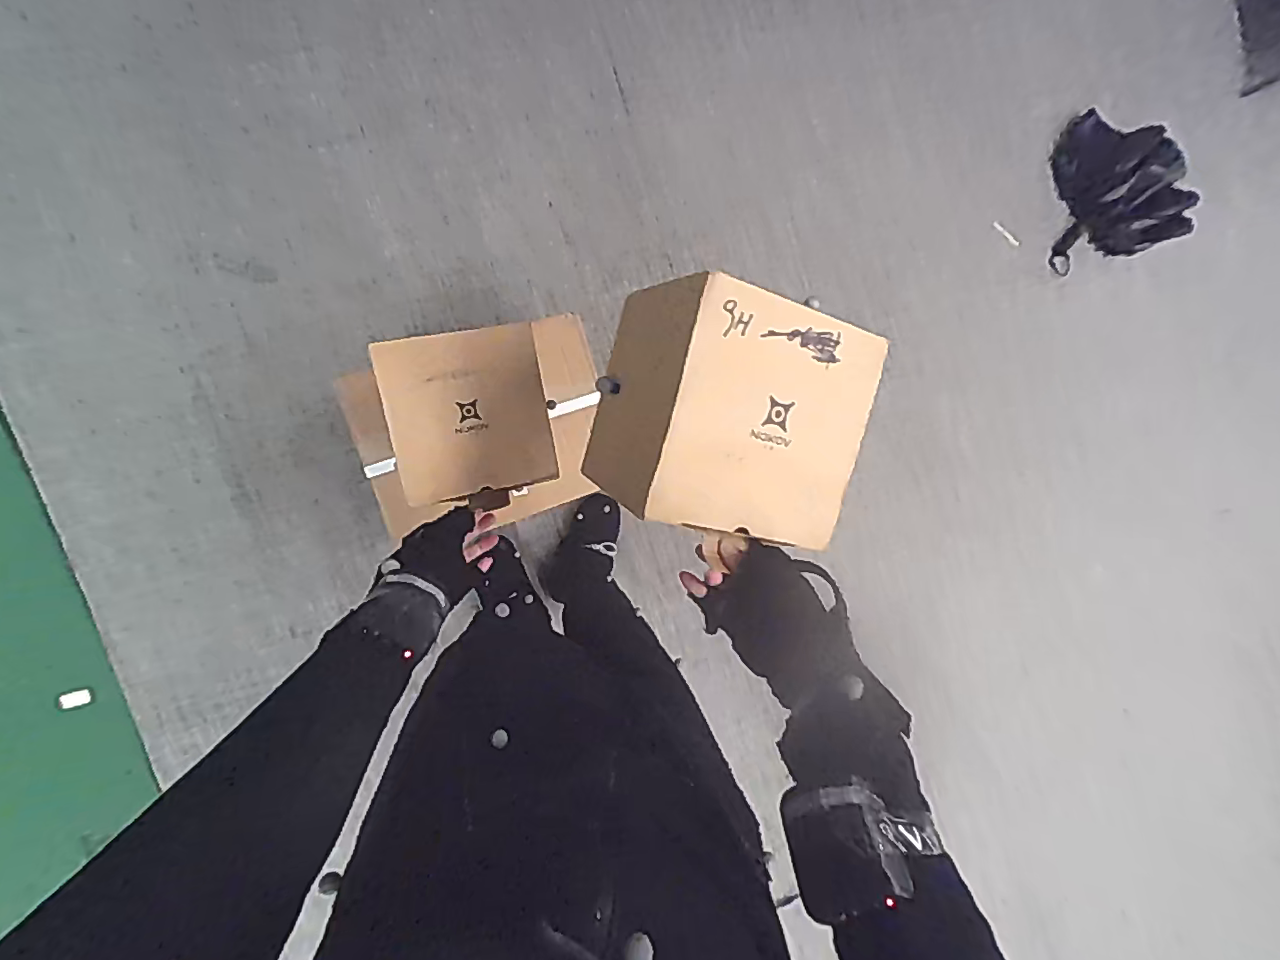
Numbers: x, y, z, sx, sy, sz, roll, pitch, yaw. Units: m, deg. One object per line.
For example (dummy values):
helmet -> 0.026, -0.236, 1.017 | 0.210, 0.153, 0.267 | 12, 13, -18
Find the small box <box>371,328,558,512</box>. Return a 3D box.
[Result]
small box -> -0.203, -0.075, 0.657 | 0.168, 0.176, 0.179 | -13, 99, -15

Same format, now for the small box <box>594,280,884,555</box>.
small box -> 0.070, -0.054, 0.478 | 0.168, 0.176, 0.179 | 13, 97, -23
